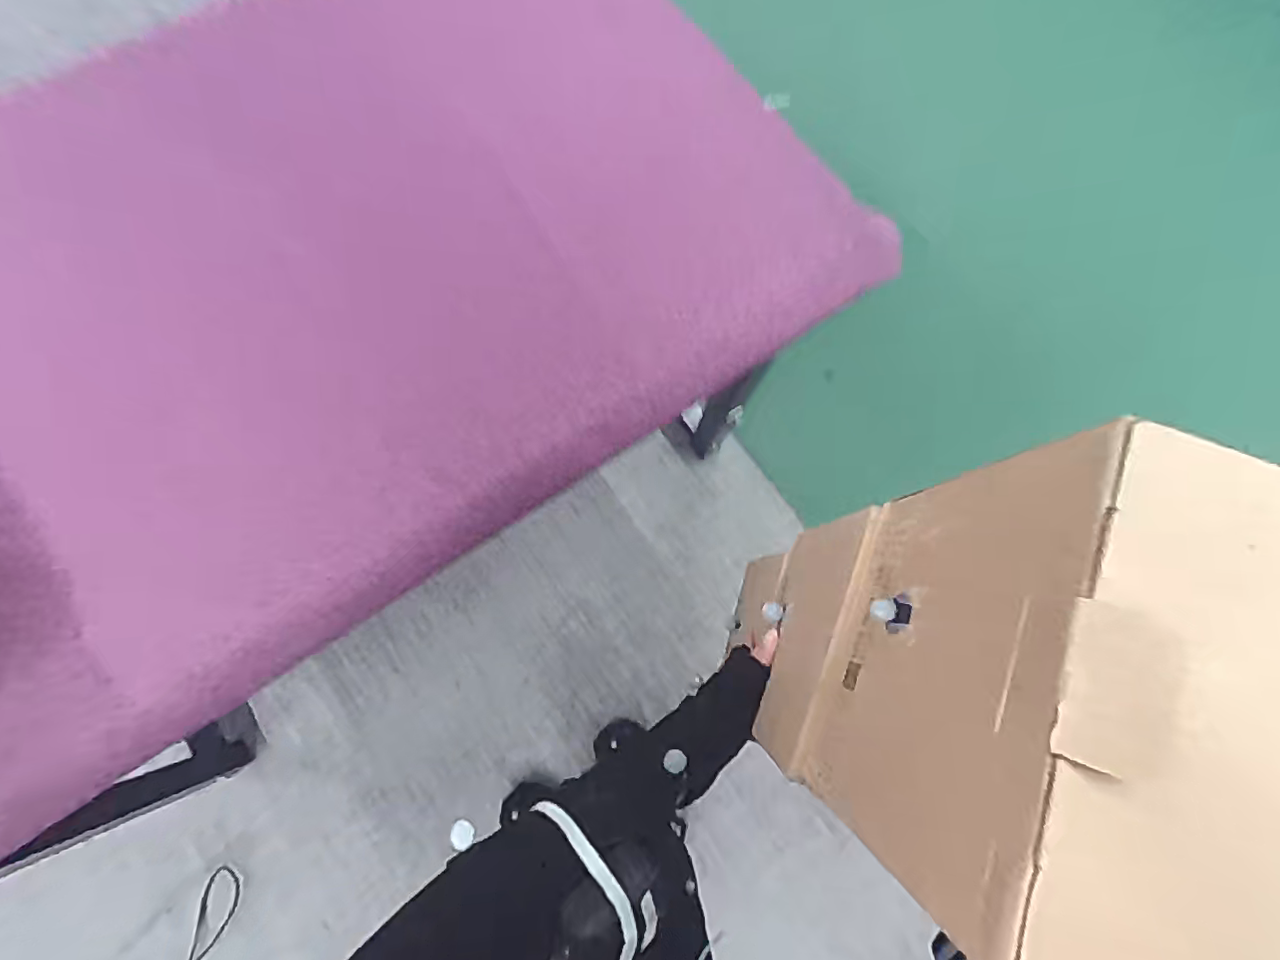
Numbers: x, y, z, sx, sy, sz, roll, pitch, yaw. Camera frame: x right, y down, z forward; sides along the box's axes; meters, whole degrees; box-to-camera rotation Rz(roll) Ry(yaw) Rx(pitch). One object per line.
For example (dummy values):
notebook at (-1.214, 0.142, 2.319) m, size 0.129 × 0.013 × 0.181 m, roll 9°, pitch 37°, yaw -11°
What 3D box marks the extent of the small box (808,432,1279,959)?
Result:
small box at (0.196, 0.103, 0.222) m, size 0.179 × 0.176 × 0.168 m, roll 21°, pitch 79°, yaw 4°
